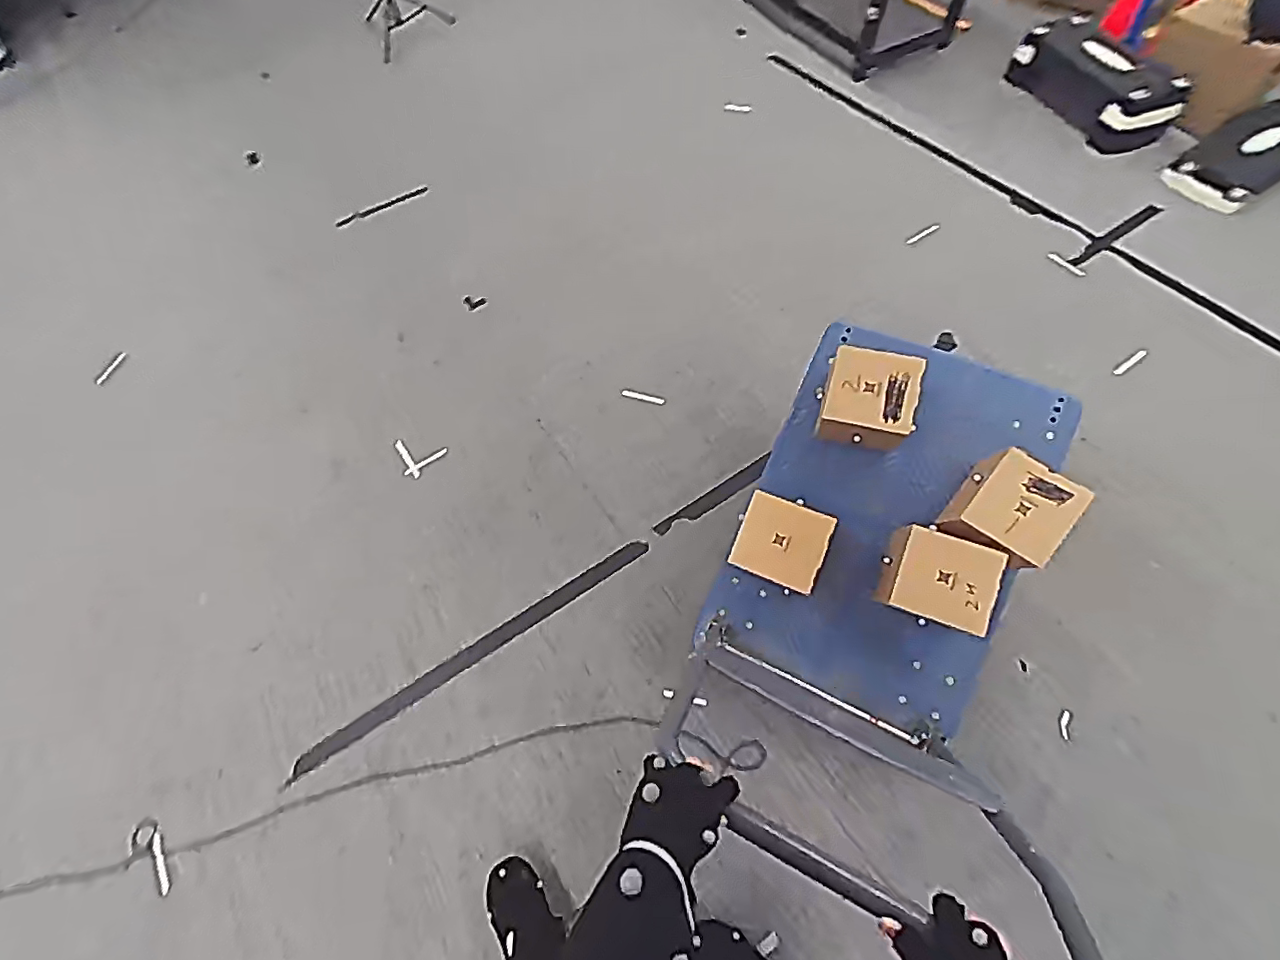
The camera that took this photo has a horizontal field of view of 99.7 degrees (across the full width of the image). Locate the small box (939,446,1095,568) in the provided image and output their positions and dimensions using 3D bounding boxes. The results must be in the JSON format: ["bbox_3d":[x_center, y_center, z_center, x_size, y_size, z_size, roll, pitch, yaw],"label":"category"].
[{"bbox_3d":[0.745,0.060,1.095,0.168,0.176,0.179,36,91,16],"label":"small box"}]

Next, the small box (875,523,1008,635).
[{"bbox_3d":[0.601,0.199,1.103,0.179,0.176,0.168,19,86,15],"label":"small box"}]

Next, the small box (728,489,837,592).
[{"bbox_3d":[0.304,0.134,1.180,0.179,0.176,0.168,21,86,13],"label":"small box"}]
